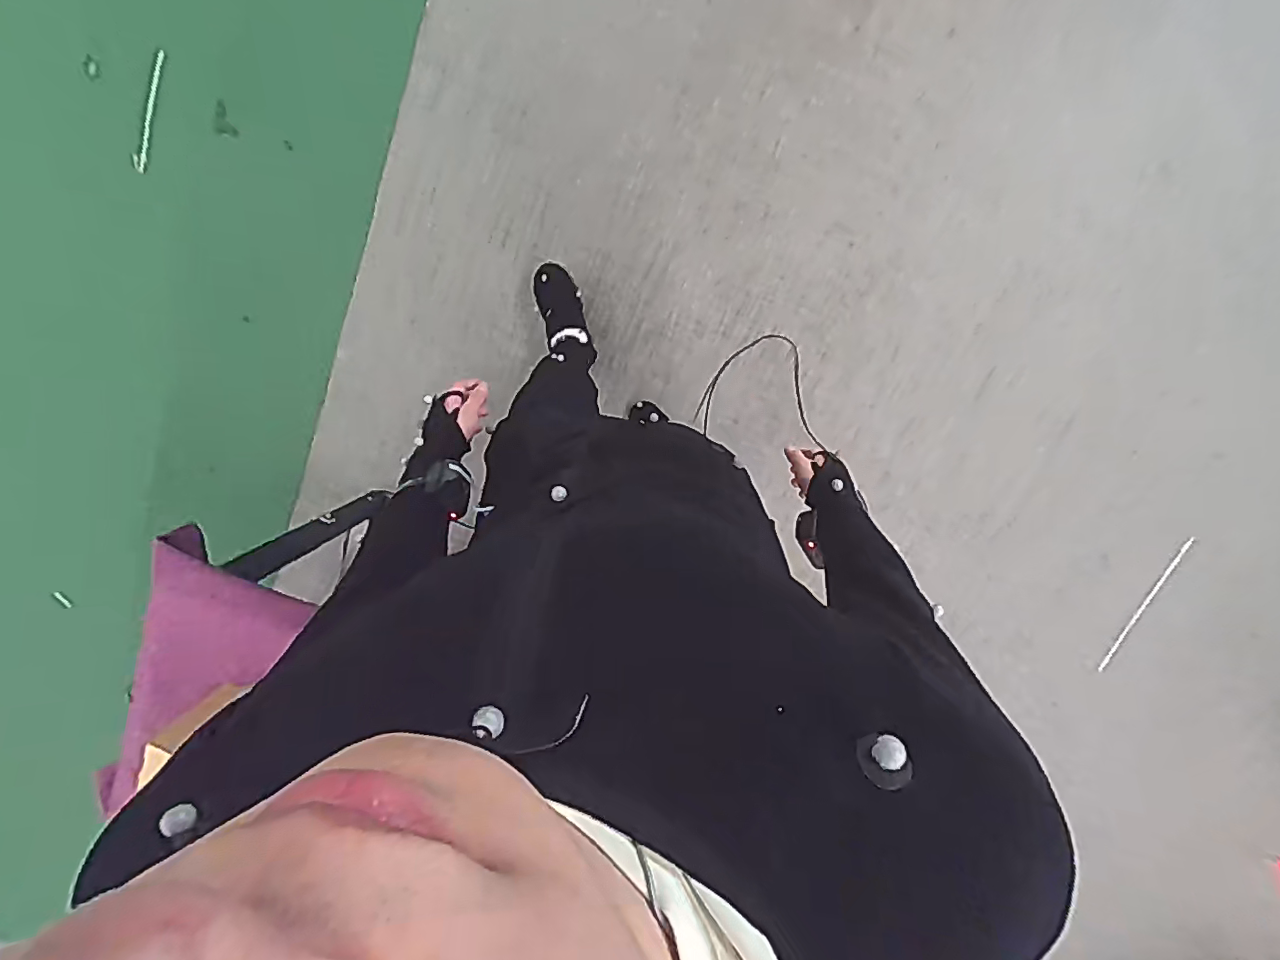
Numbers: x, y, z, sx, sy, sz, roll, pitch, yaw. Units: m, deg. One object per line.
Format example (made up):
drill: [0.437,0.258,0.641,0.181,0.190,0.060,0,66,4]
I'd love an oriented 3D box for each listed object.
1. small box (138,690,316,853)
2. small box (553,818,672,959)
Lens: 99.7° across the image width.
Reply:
small box: [-0.731,0.509,0.971,0.179,0.176,0.168,22,104,-2]
small box: [-0.043,0.772,0.988,0.168,0.176,0.179,20,104,-1]
